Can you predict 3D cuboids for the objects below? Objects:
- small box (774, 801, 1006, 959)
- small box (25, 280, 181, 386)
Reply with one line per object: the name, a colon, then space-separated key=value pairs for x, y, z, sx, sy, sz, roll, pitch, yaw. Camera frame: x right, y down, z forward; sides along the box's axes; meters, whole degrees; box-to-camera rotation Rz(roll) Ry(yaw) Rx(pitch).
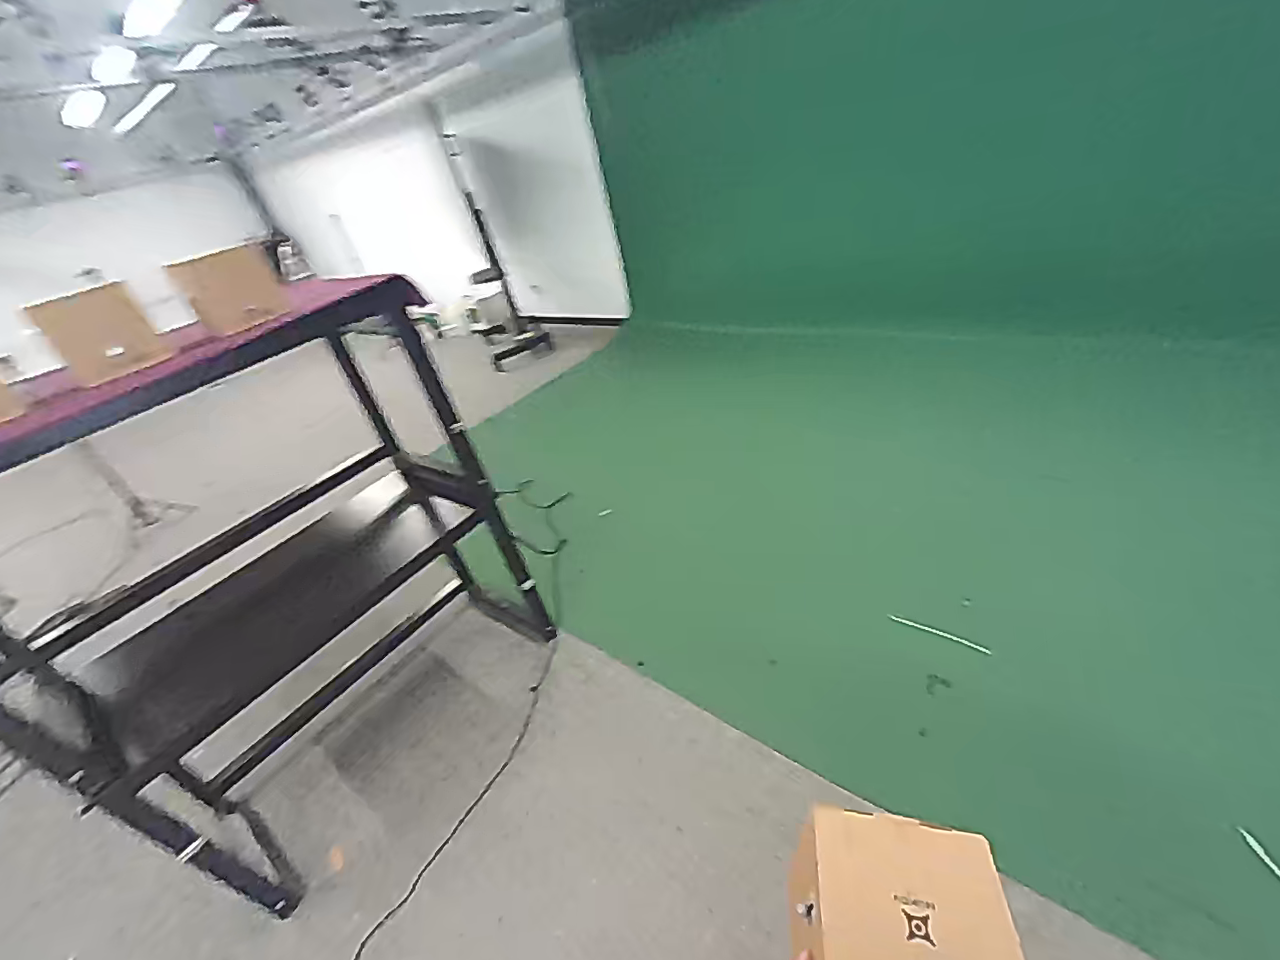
small box: x=0.222 y=0.448 z=0.509 sx=0.168 sy=0.176 sz=0.179 roll=6 pitch=33 yaw=8
small box: x=-1.128 y=-0.310 z=1.142 sx=0.179 sy=0.176 sz=0.168 roll=15 pitch=43 yaw=38
